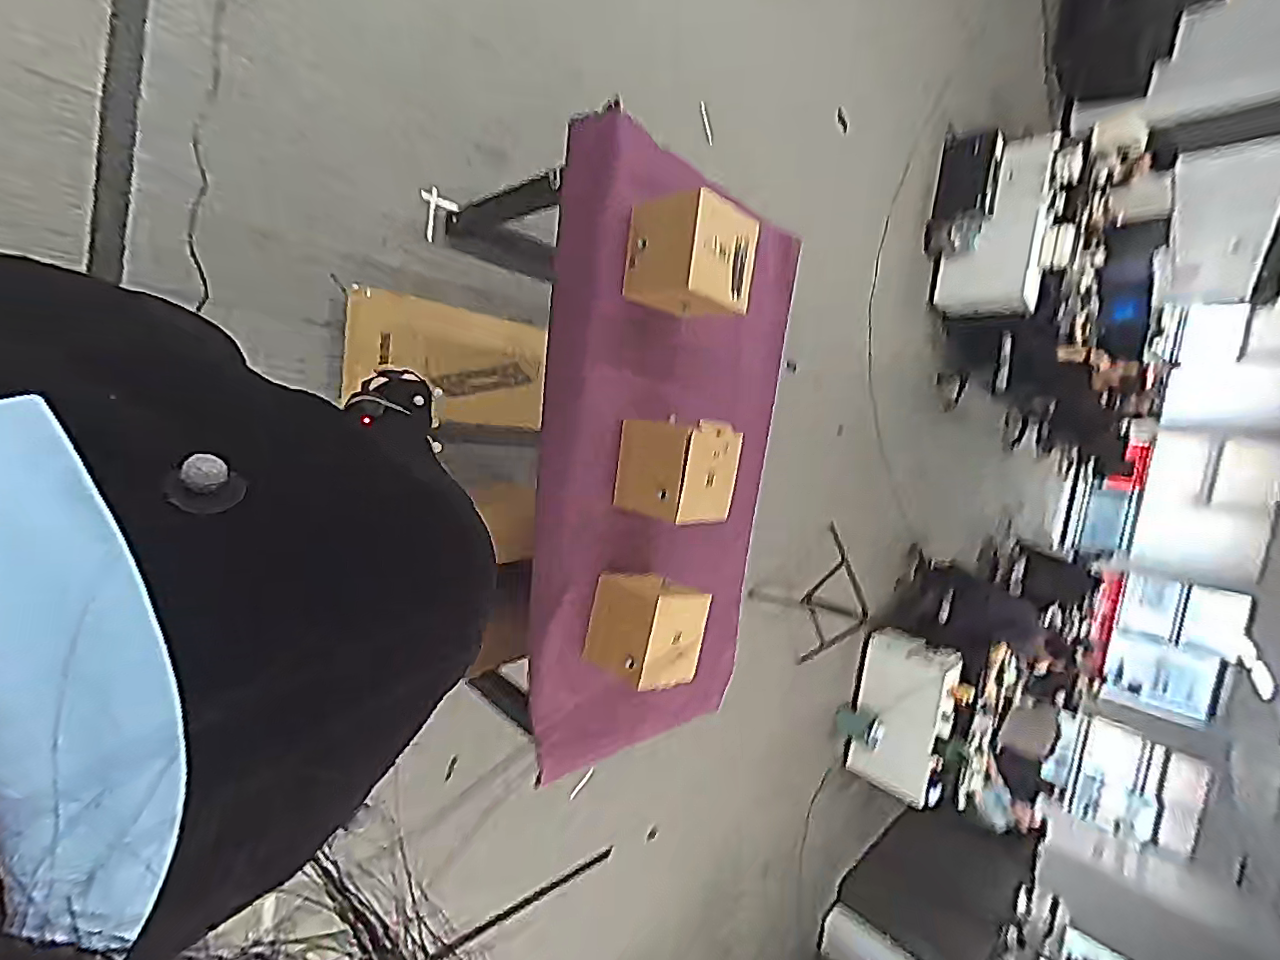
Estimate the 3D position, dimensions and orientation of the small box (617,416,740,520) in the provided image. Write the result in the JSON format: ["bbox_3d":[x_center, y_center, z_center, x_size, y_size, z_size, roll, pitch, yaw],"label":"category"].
[{"bbox_3d":[0.073,-0.026,1.073,0.168,0.176,0.179,0,100,-48],"label":"small box"}]

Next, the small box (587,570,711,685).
[{"bbox_3d":[0.015,0.286,1.092,0.168,0.176,0.179,11,92,-46],"label":"small box"}]
